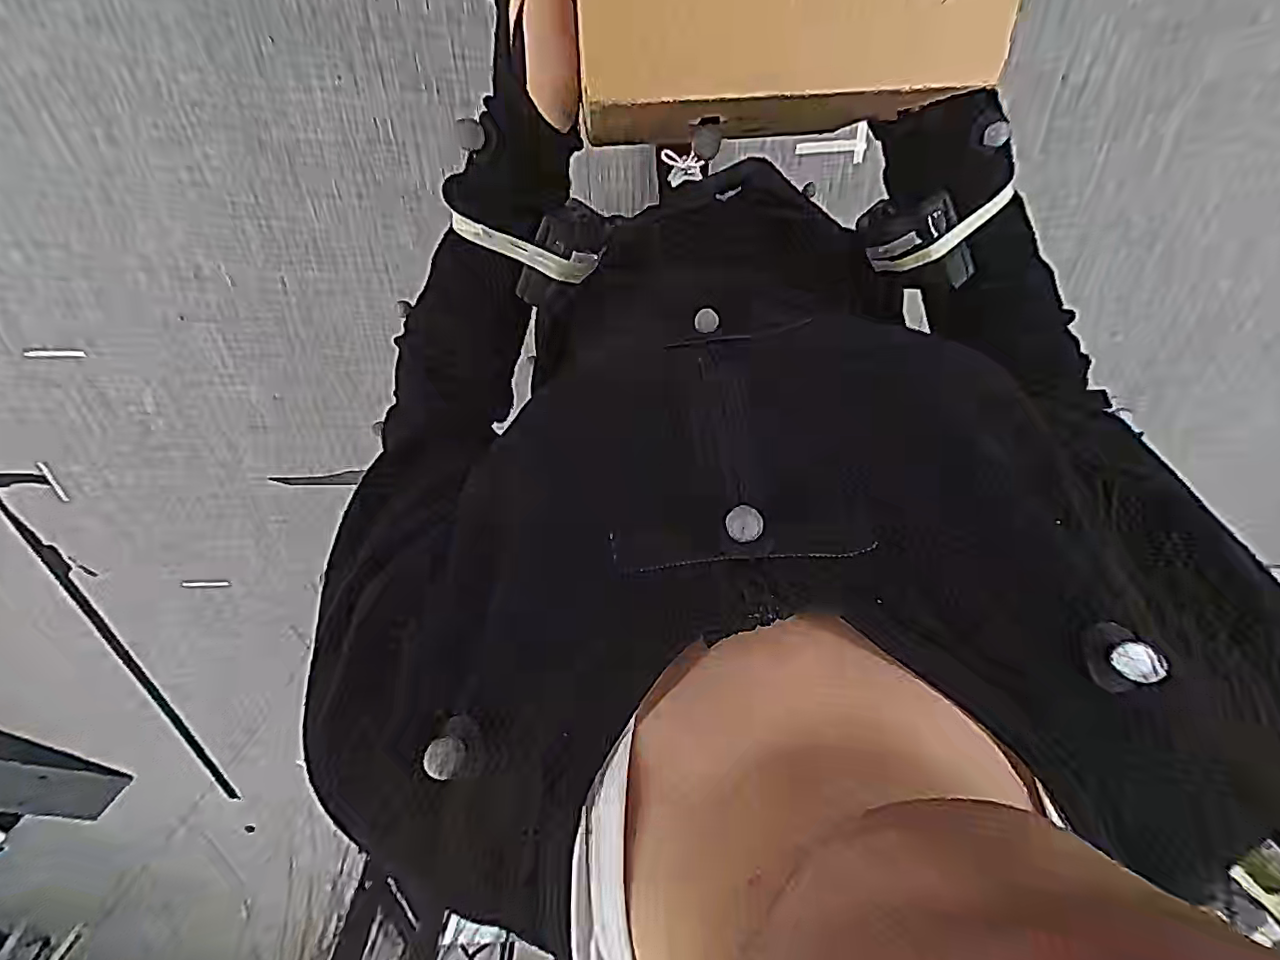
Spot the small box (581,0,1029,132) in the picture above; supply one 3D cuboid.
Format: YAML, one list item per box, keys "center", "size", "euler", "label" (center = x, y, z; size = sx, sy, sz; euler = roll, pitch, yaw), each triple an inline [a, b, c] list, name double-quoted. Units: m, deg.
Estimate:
- center: [0.054, -0.264, 0.238]
  size: [0.168, 0.176, 0.179]
  euler: [-5, 116, -2]
  label: "small box"
